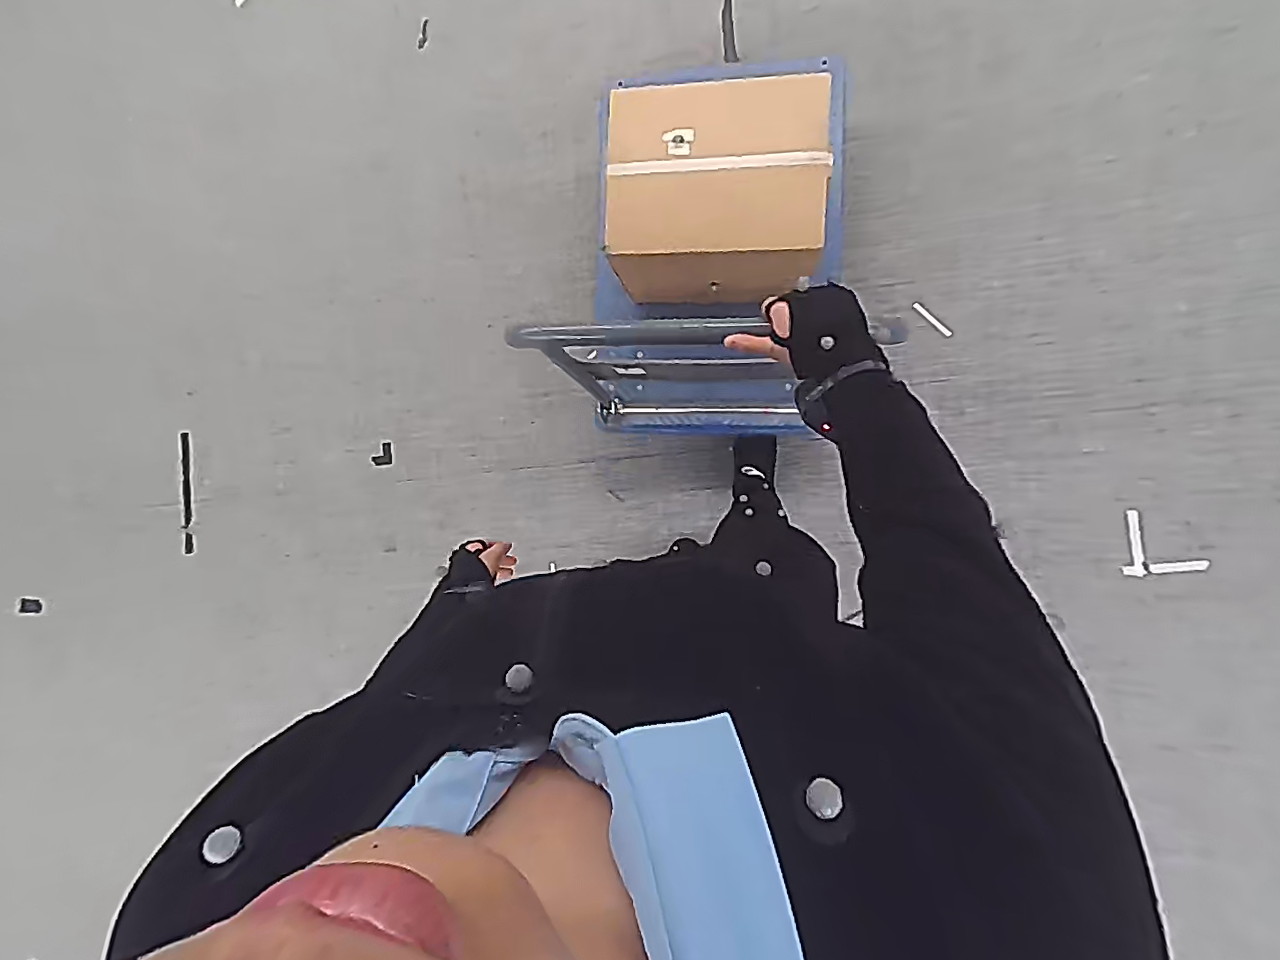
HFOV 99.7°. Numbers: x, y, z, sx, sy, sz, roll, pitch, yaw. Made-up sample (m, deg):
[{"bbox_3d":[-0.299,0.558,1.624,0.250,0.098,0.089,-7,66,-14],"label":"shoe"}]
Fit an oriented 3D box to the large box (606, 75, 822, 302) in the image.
[{"bbox_3d":[0.162,-0.584,1.157,0.408,0.320,0.320,2,90,11],"label":"large box"}]
